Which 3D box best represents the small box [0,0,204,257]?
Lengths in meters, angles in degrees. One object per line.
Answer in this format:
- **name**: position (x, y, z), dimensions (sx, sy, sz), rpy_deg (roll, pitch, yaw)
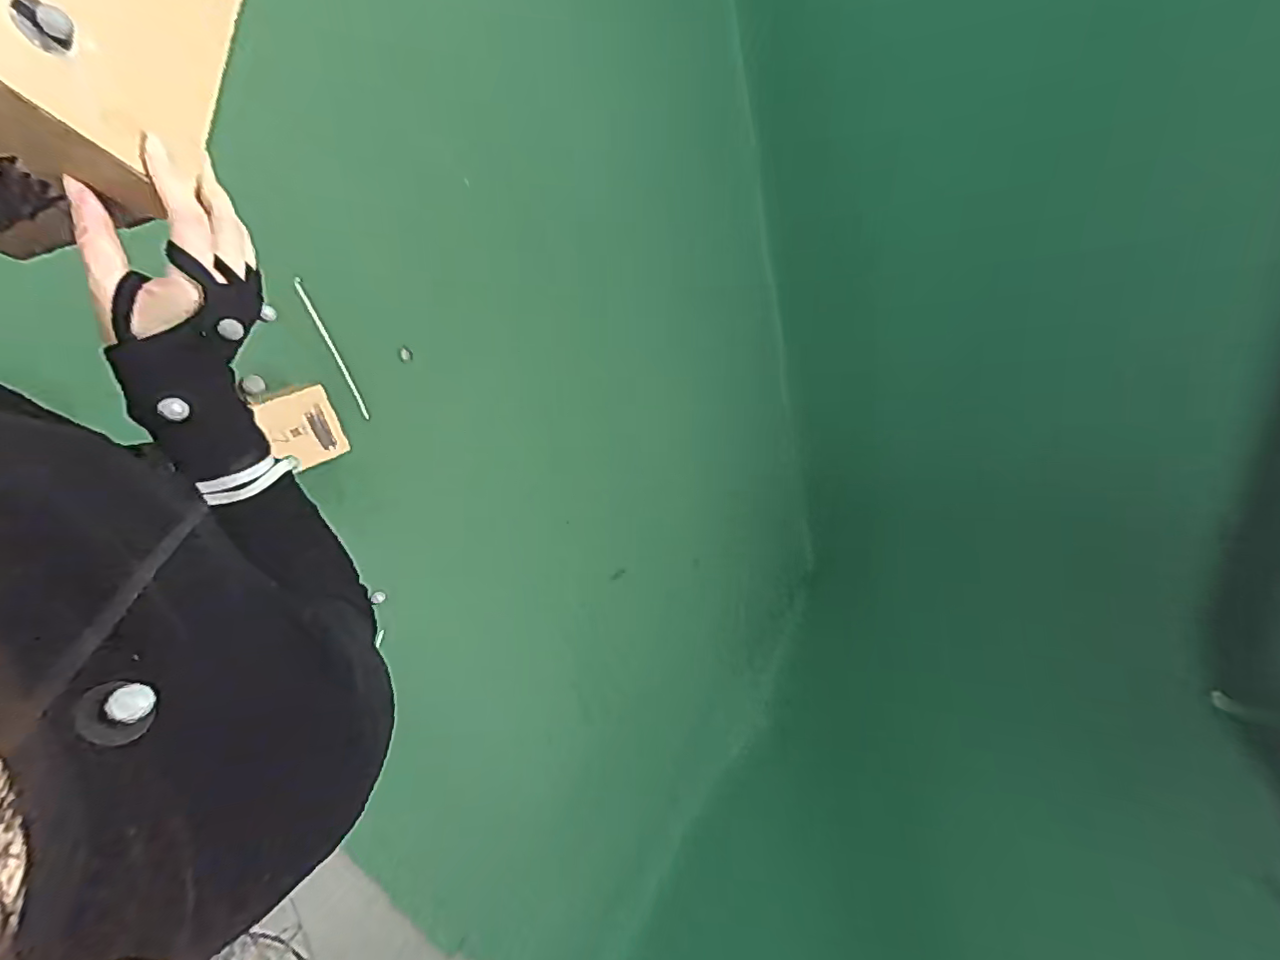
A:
- **small box**: position (-0.372, -0.251, 0.275), dimensions (0.179, 0.168, 0.176), rpy_deg (35, 52, -67)
